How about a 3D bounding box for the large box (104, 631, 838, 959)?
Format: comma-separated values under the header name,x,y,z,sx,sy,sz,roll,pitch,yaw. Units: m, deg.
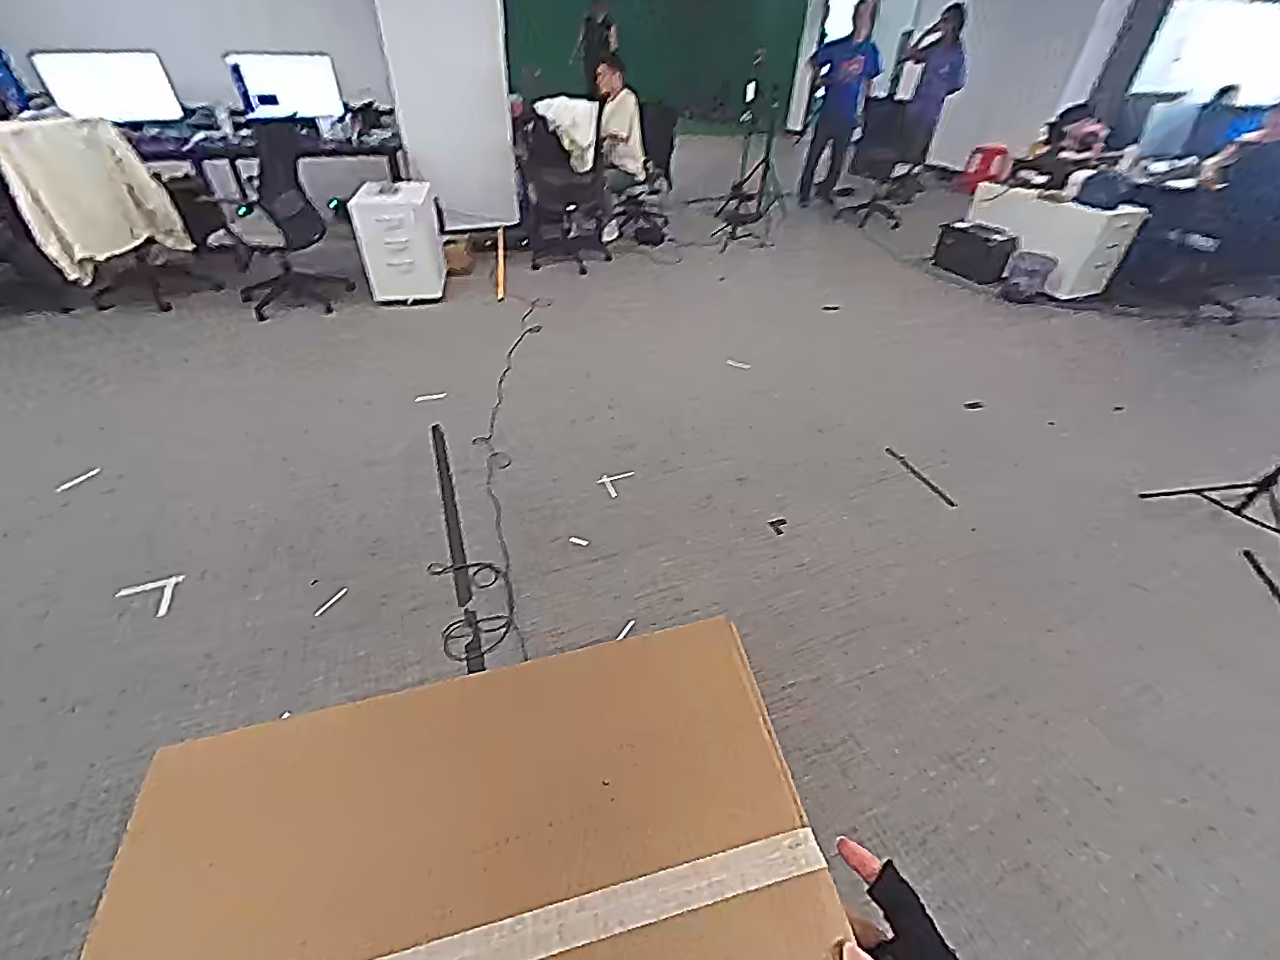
name,x,y,z,sx,sy,sz,roll,pitch,yaw
large box,-0.090,0.365,0.410,0.408,0.320,0.320,-11,48,-8
